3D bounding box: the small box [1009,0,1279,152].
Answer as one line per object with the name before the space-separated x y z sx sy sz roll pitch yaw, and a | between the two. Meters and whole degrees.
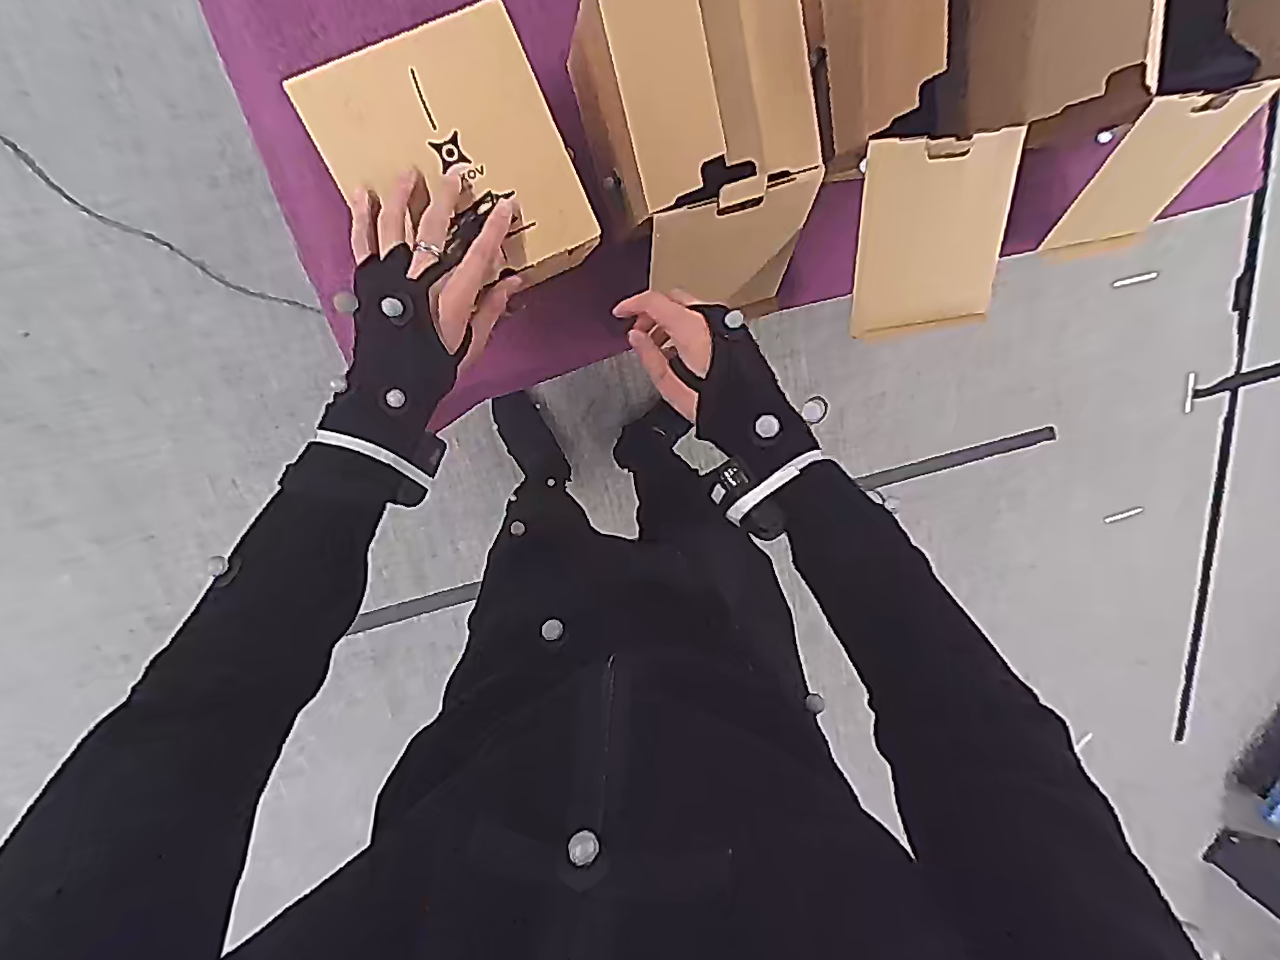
small box | 0.527 -0.476 0.570 0.168 0.176 0.179 -13 108 -8
